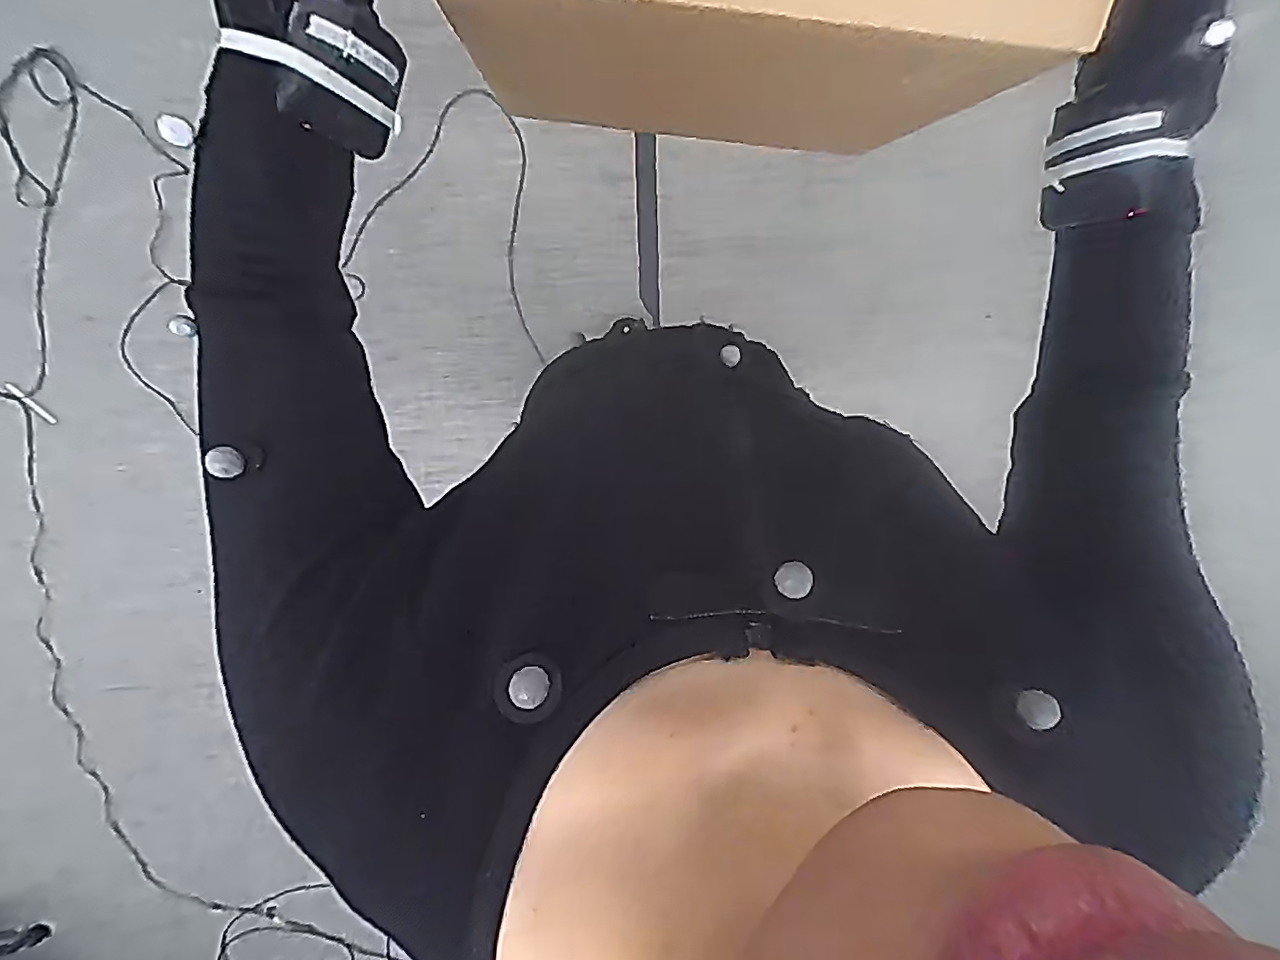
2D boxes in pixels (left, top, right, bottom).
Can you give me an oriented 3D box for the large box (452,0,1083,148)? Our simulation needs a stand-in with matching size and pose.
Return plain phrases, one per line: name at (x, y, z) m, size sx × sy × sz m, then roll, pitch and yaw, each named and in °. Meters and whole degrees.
large box at (0.073, -0.476, 0.413) m, size 0.408 × 0.320 × 0.320 m, roll 2°, pitch 111°, yaw -6°
